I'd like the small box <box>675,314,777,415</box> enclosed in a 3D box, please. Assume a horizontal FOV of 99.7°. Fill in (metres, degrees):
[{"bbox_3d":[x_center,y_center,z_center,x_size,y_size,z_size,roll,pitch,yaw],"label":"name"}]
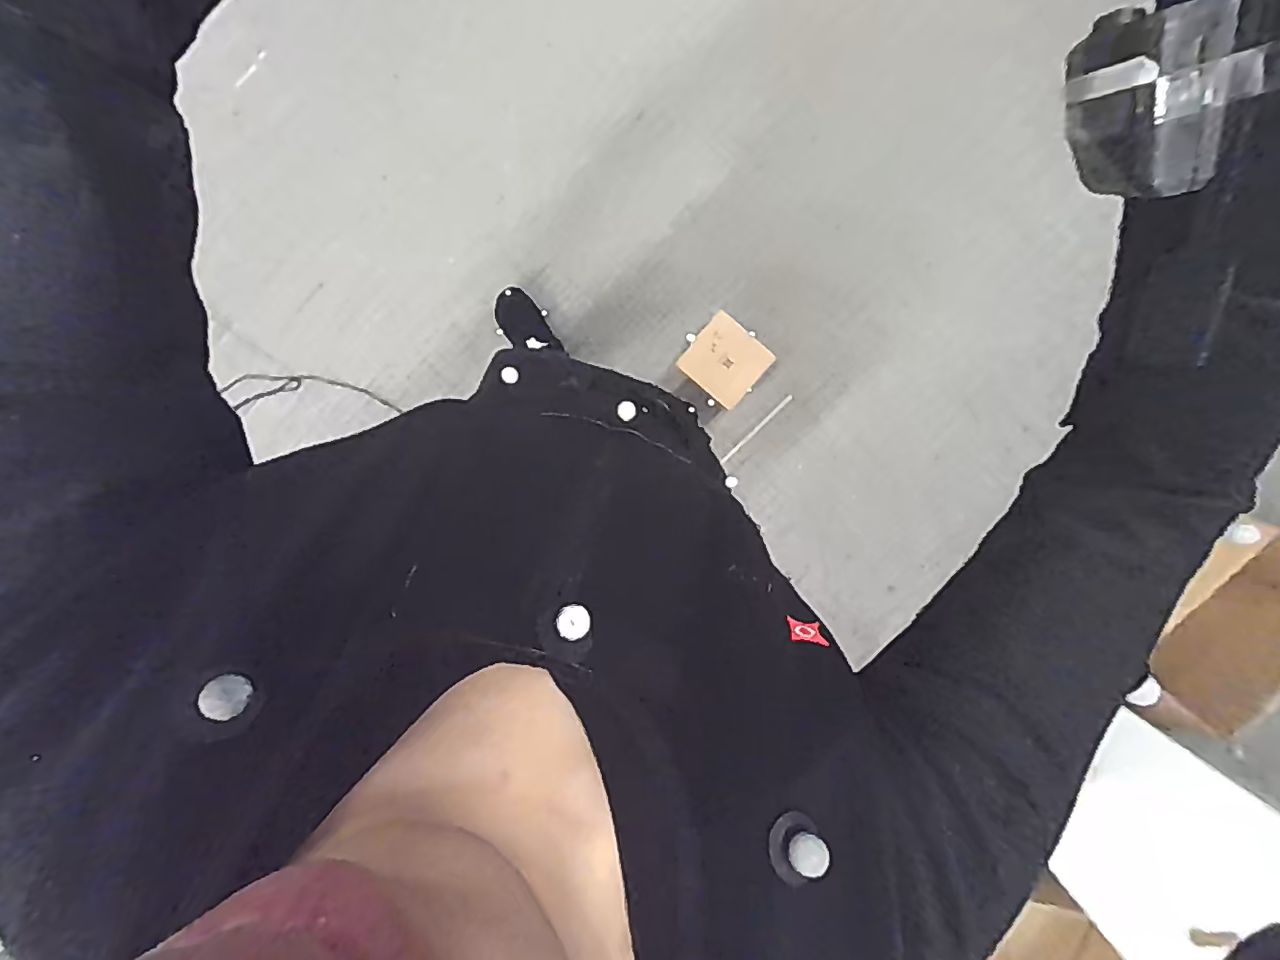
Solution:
[{"bbox_3d":[0.203,-0.281,1.329,0.179,0.176,0.168,40,98,-5],"label":"small box"}]
